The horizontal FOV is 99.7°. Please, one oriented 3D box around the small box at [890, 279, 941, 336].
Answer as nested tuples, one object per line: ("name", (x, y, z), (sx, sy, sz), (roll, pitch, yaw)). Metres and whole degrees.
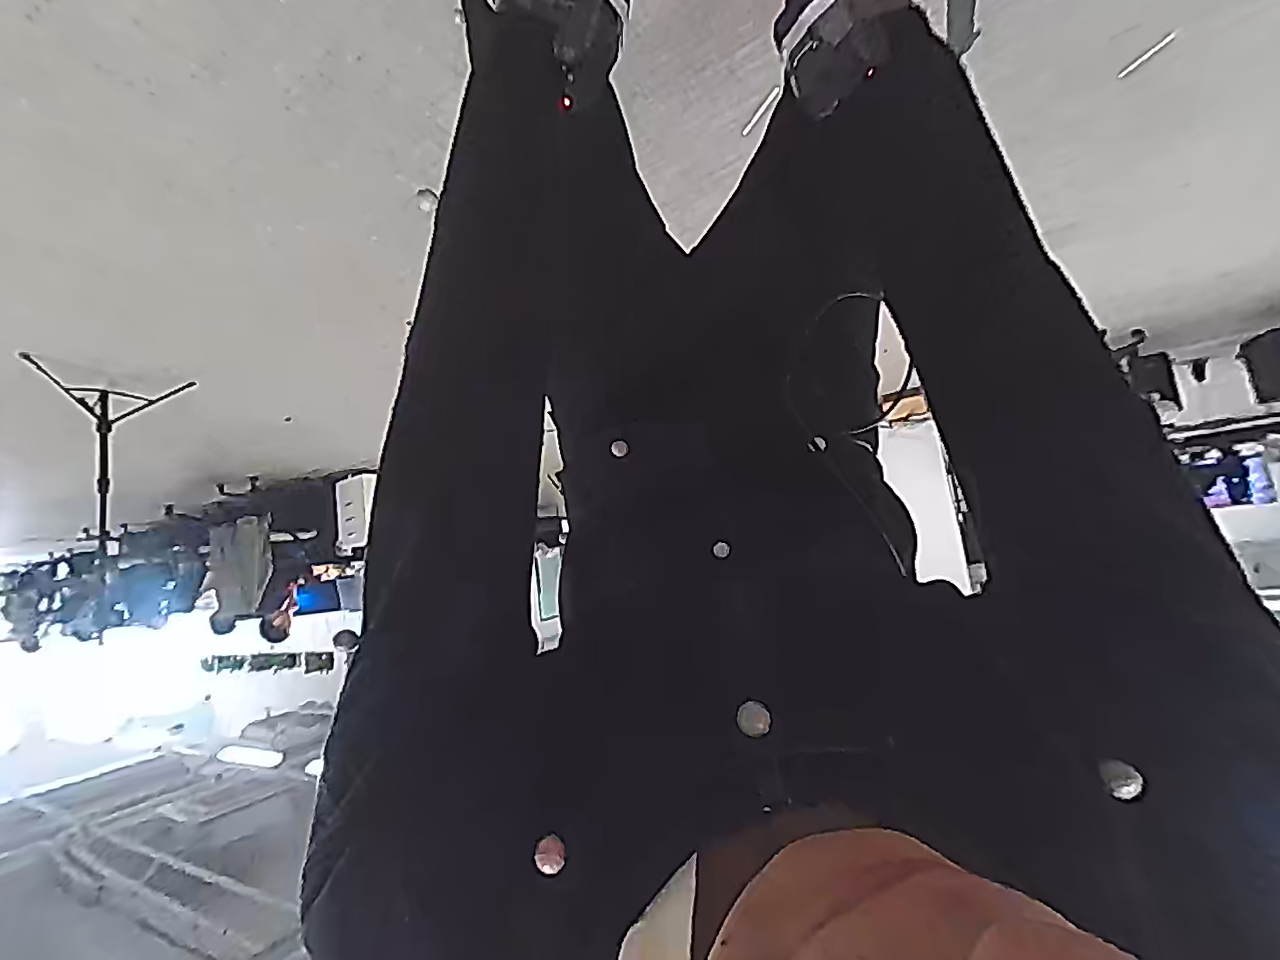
("small box", (1.200, -0.752, 2.353), (0.168, 0.176, 0.179), (-12, 171, 31))
